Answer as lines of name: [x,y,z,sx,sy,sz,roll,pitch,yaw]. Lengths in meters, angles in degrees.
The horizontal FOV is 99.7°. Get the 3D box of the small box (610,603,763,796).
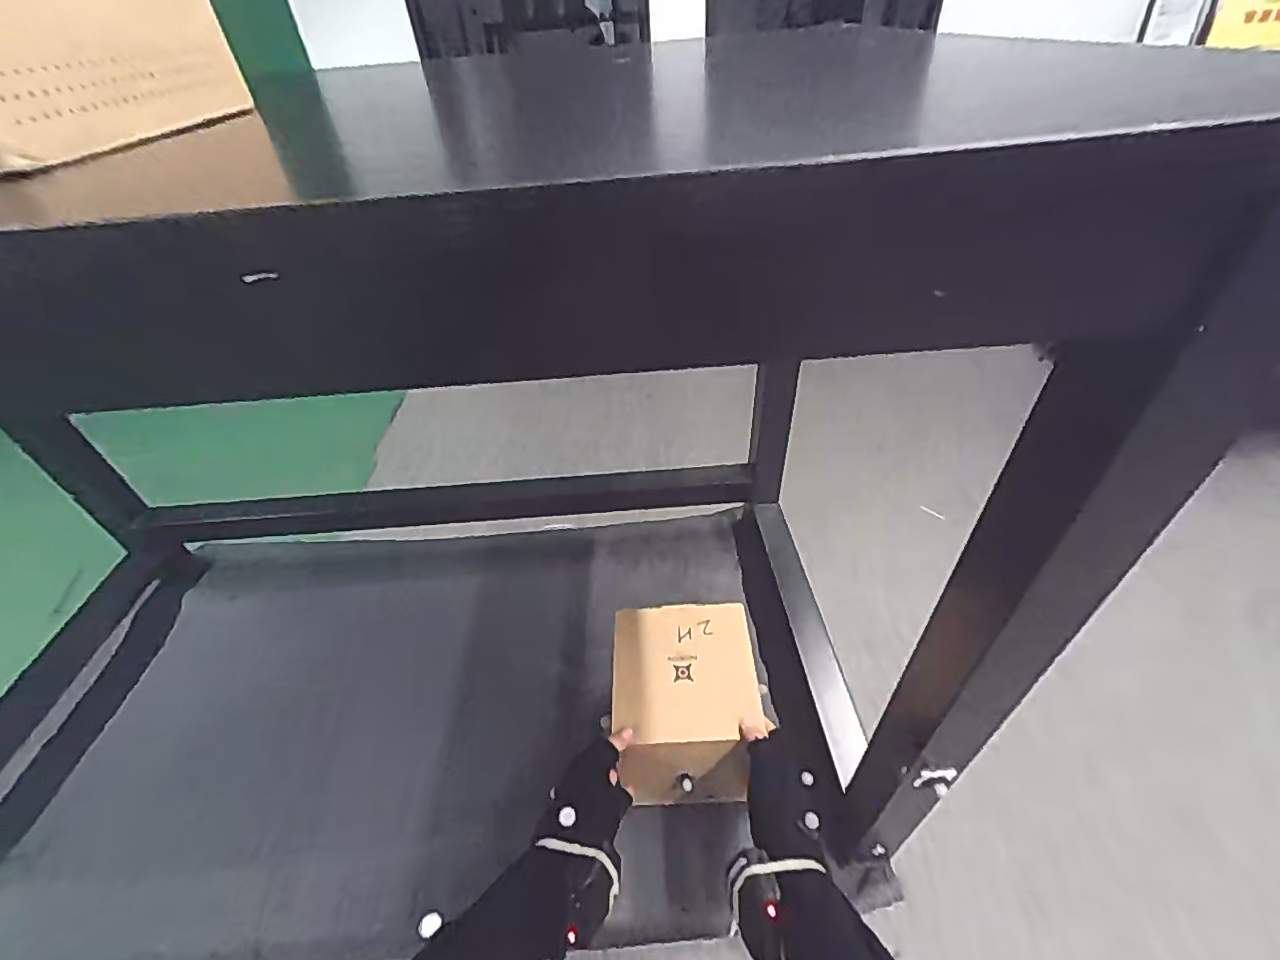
small box: [0.058,0.279,0.680,0.168,0.176,0.179,-3,39,3]
